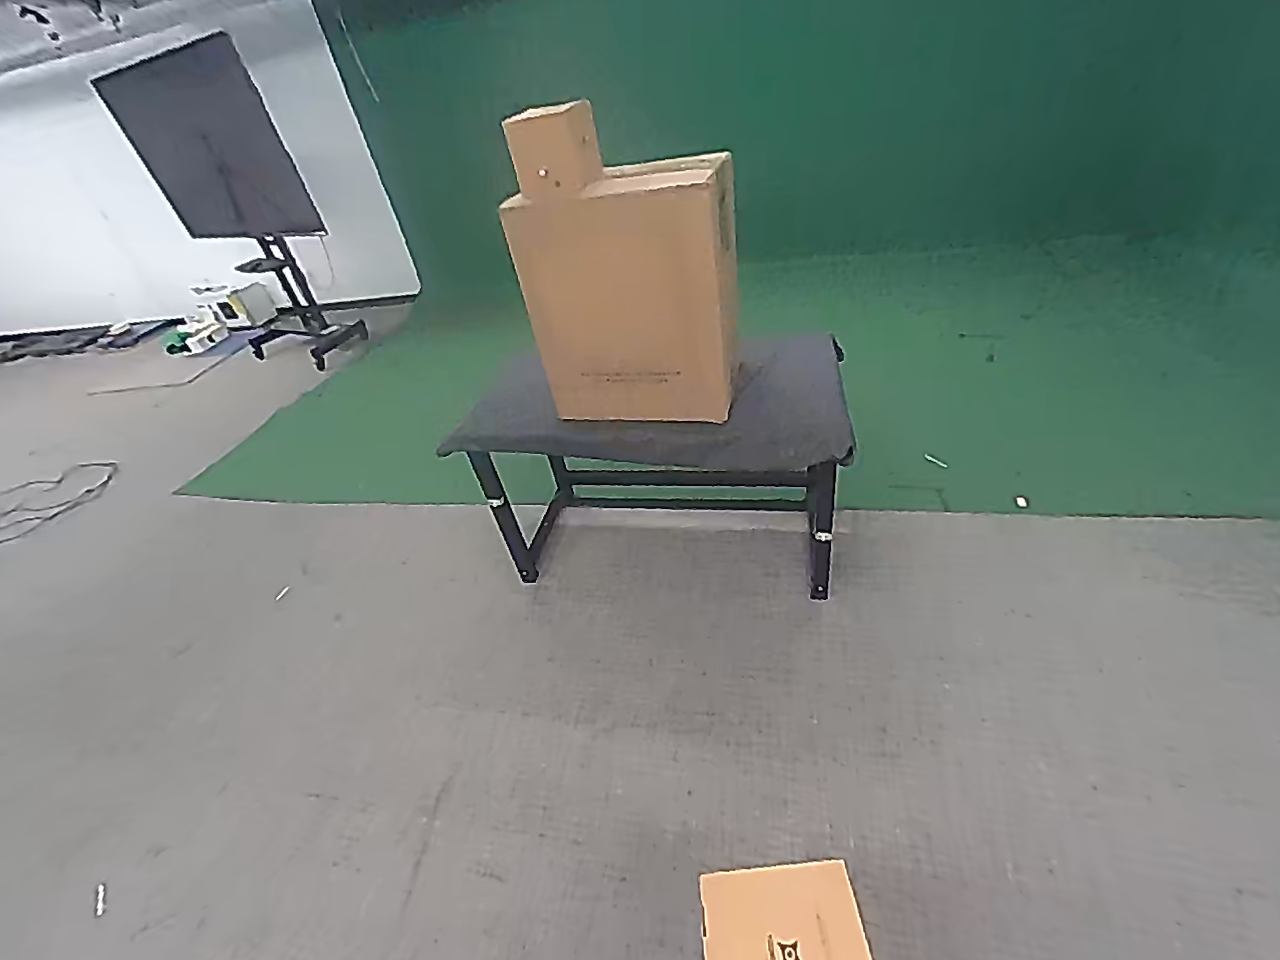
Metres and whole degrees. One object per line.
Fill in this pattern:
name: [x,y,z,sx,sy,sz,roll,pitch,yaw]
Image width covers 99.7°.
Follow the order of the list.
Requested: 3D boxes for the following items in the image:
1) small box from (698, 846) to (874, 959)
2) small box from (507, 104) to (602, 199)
small box: [0.172,0.563,0.634,0.179,0.176,0.168,-9,36,4]
small box: [-0.205,-0.823,1.361,0.168,0.176,0.179,2,42,18]
